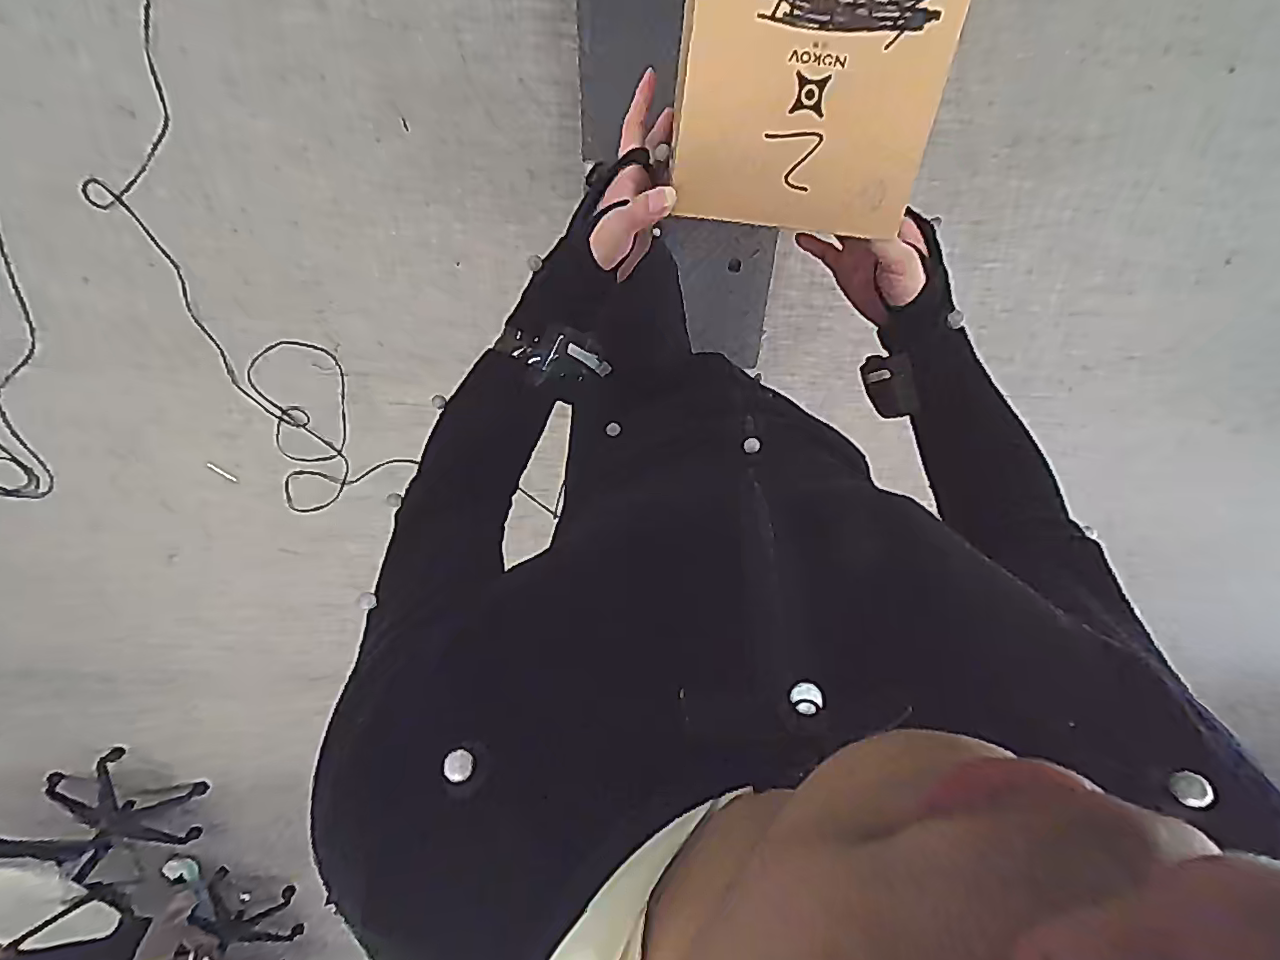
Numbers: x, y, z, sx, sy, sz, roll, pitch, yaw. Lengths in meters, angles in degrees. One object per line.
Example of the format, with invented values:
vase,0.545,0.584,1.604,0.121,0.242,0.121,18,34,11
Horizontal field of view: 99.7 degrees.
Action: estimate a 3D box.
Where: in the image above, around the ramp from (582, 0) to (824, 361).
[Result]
ramp,0.124,-0.738,1.261,0.509,0.206,0.991,-1,118,0
